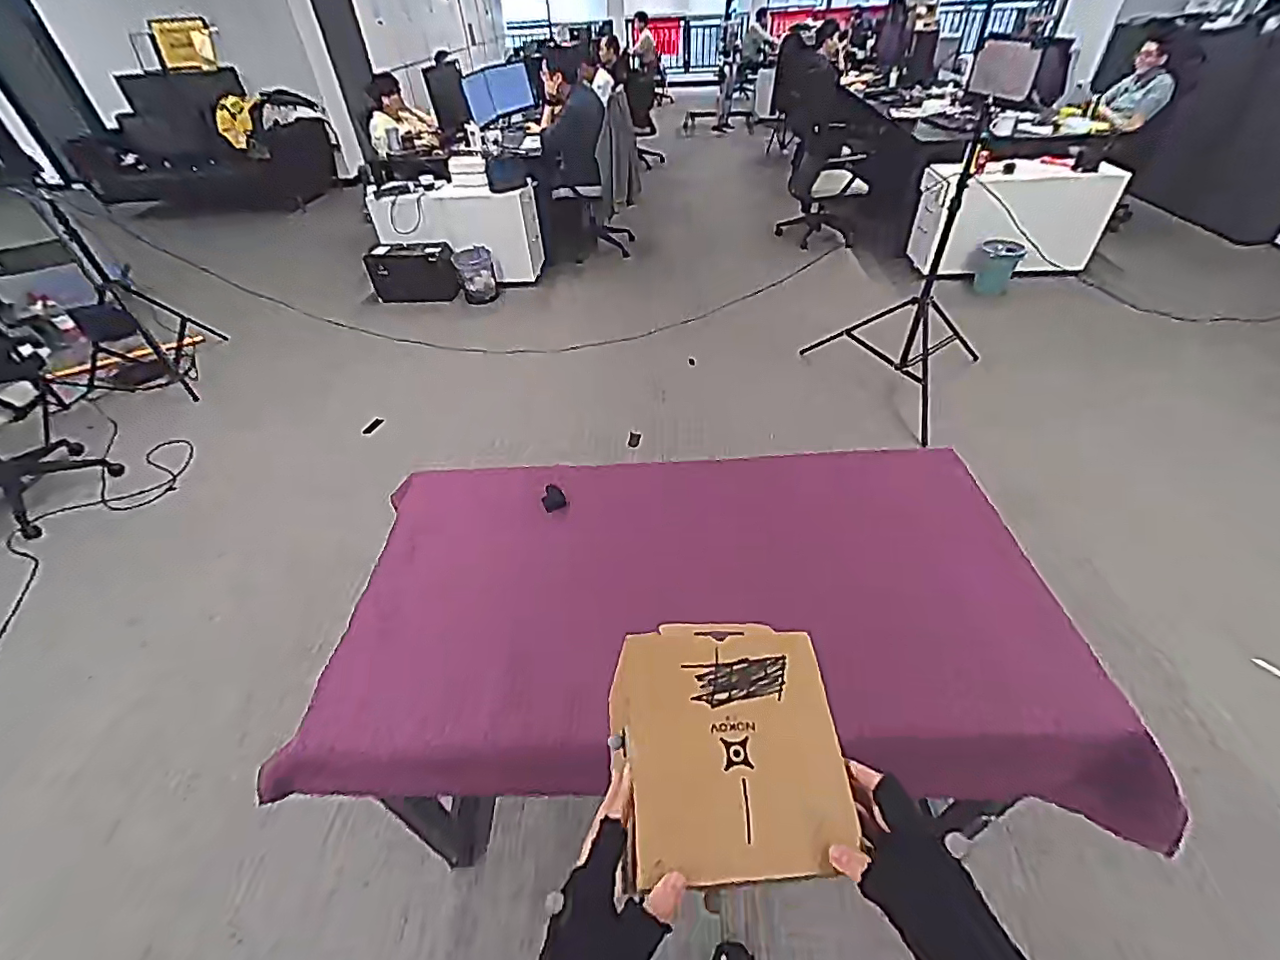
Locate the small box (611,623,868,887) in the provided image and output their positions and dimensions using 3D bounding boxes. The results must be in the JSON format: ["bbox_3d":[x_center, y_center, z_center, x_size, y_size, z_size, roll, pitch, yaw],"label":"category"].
[{"bbox_3d":[0.064,0.244,0.481,0.168,0.176,0.179,2,52,-8],"label":"small box"}]
